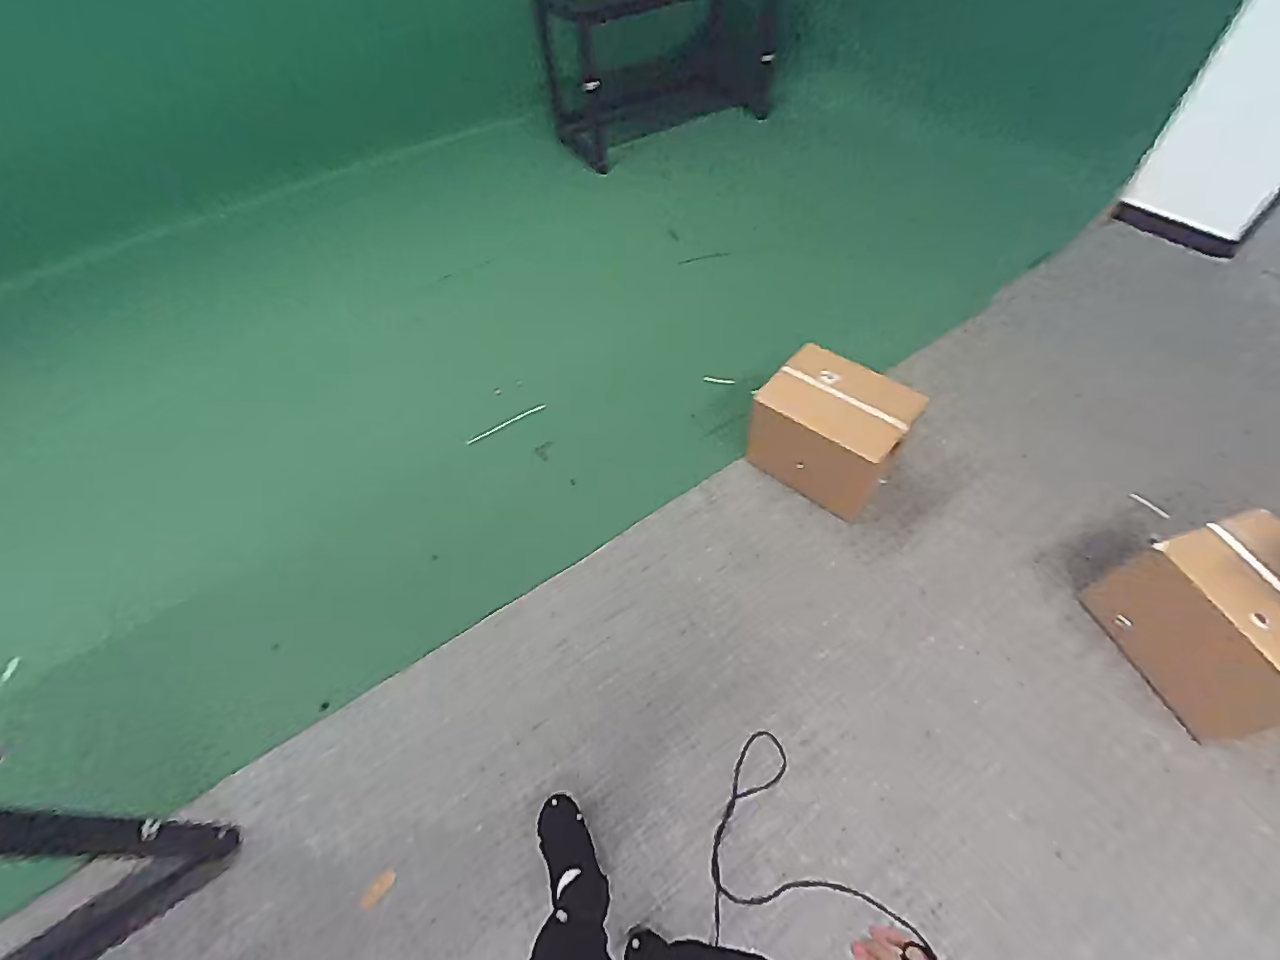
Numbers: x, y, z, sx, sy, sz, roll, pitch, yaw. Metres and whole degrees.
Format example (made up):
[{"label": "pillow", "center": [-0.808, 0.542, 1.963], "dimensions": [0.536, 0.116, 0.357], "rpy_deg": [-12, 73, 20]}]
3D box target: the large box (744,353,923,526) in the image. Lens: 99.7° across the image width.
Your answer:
[{"label": "large box", "center": [0.587, -0.130, 1.703], "dimensions": [0.408, 0.320, 0.320], "rpy_deg": [34, 62, 27]}]
